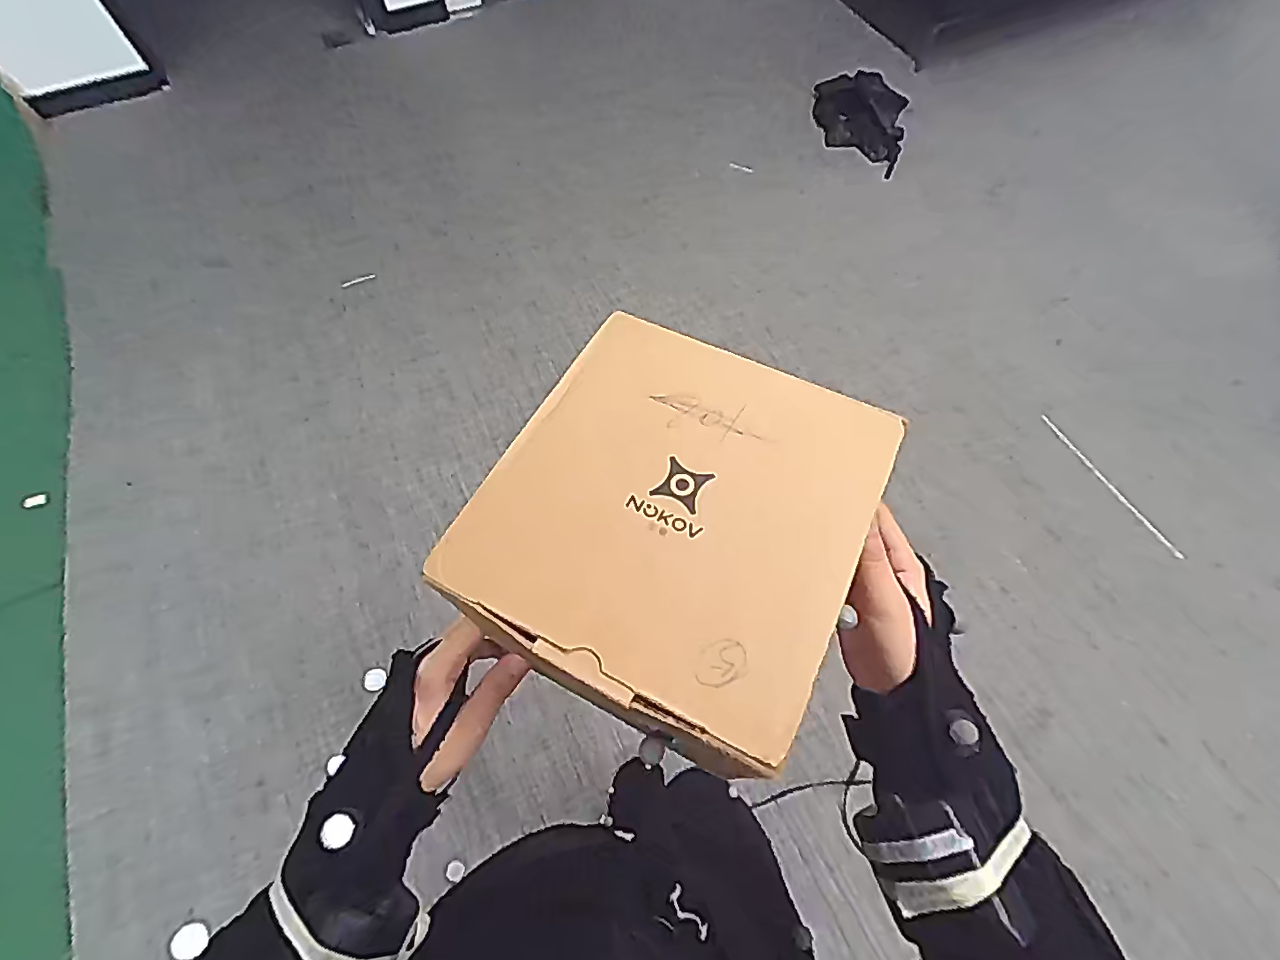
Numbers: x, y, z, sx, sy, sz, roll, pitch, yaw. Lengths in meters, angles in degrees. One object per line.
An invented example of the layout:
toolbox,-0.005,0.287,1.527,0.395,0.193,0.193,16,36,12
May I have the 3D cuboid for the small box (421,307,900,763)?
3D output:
small box,0.017,0.041,0.316,0.168,0.176,0.179,25,64,13
